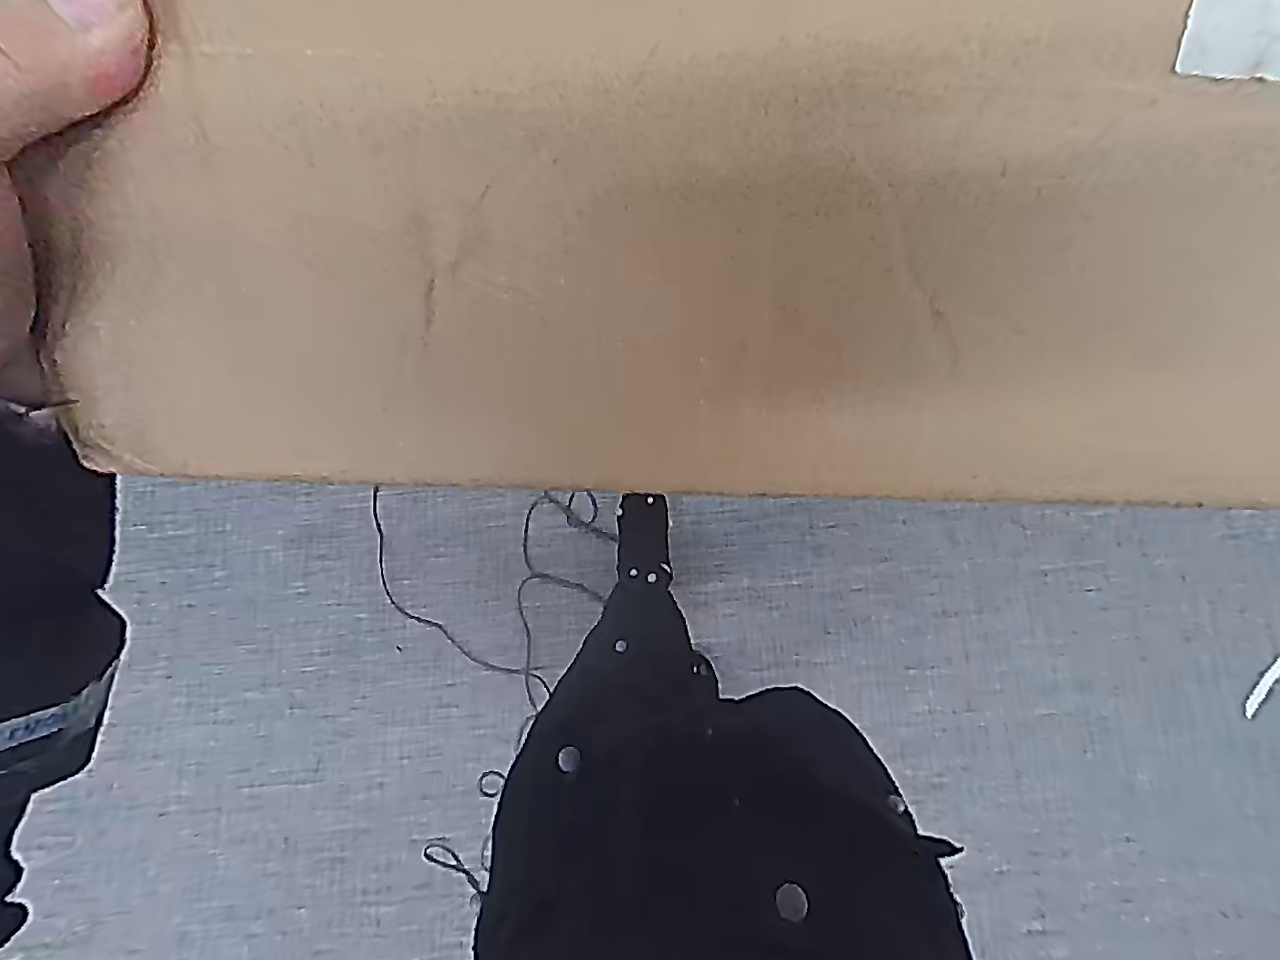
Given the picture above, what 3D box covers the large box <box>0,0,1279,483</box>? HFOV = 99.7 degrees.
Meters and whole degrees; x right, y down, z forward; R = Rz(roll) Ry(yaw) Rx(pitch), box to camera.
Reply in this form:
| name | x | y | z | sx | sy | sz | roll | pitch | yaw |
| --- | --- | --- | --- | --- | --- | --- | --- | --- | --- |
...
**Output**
| name | x | y | z | sx | sy | sz | roll | pitch | yaw |
| --- | --- | --- | --- | --- | --- | --- | --- | --- | --- |
| large box | 0.062 | -0.192 | 0.242 | 0.408 | 0.320 | 0.320 | 1 | 109 | -1 |
